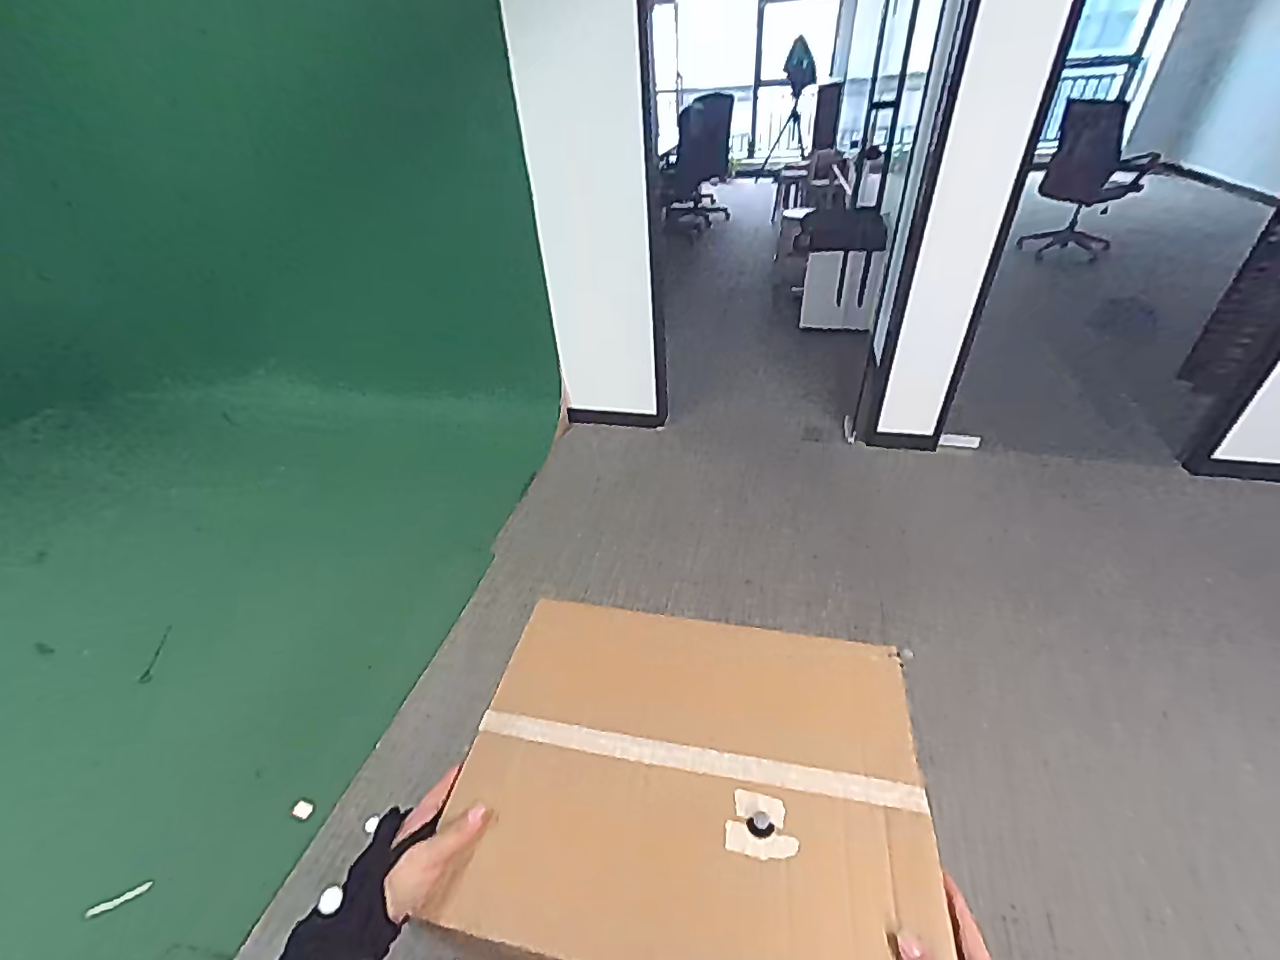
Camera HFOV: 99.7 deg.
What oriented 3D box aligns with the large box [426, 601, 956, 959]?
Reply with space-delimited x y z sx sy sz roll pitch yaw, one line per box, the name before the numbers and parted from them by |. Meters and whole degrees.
large box | 0.055 0.372 0.595 0.408 0.320 0.320 6 40 10
